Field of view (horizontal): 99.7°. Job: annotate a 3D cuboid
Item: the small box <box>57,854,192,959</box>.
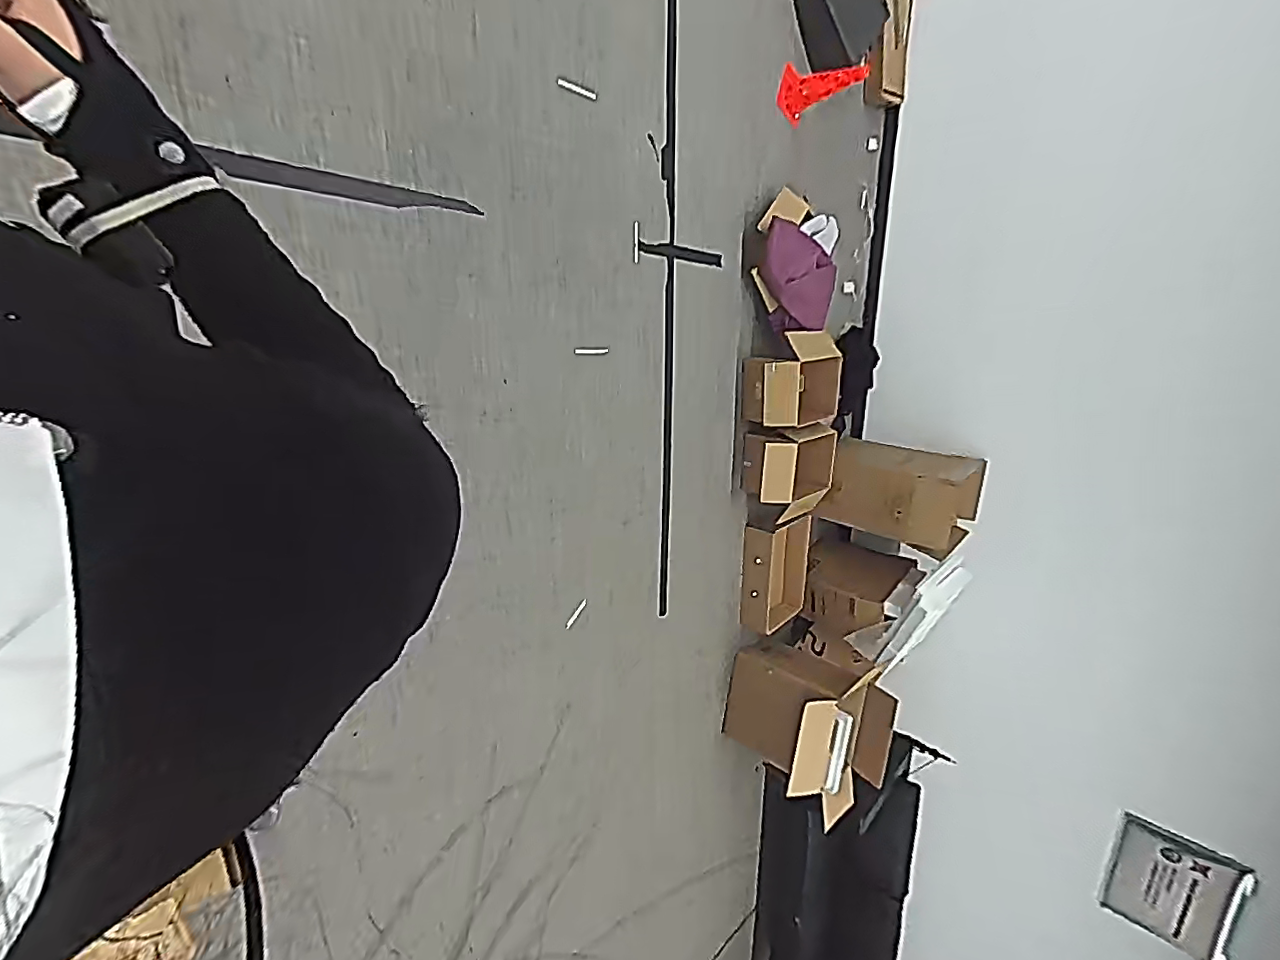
[{"bbox_3d":[-1.053,0.916,1.105,0.168,0.176,0.179,-18,113,-43],"label":"small box"}]
